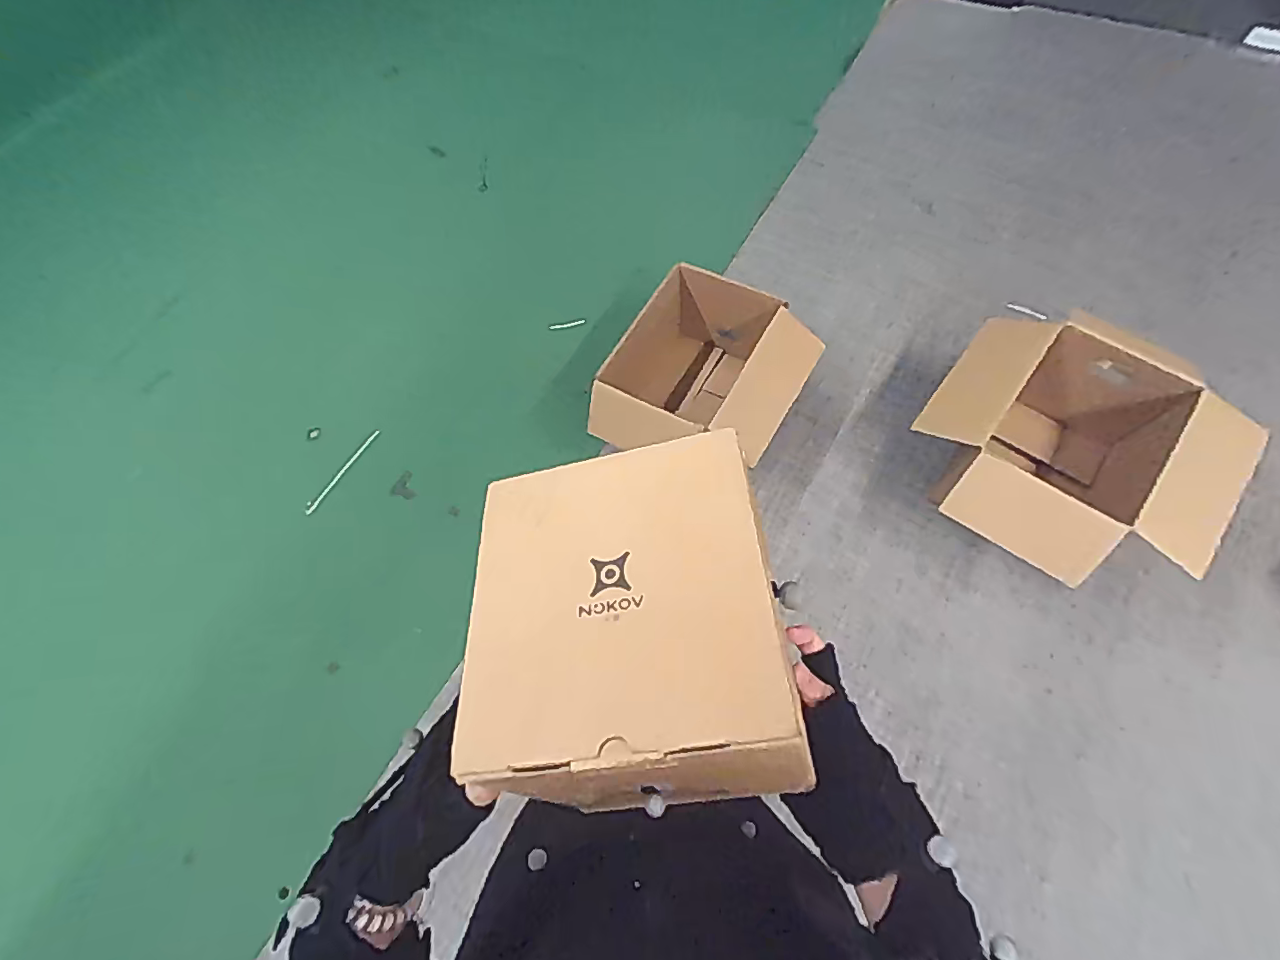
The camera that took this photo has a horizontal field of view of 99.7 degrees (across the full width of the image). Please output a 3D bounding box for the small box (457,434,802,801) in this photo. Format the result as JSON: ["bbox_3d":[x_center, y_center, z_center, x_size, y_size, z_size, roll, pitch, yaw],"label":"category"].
[{"bbox_3d":[0.005,0.101,0.361,0.168,0.176,0.179,-13,54,11],"label":"small box"}]
